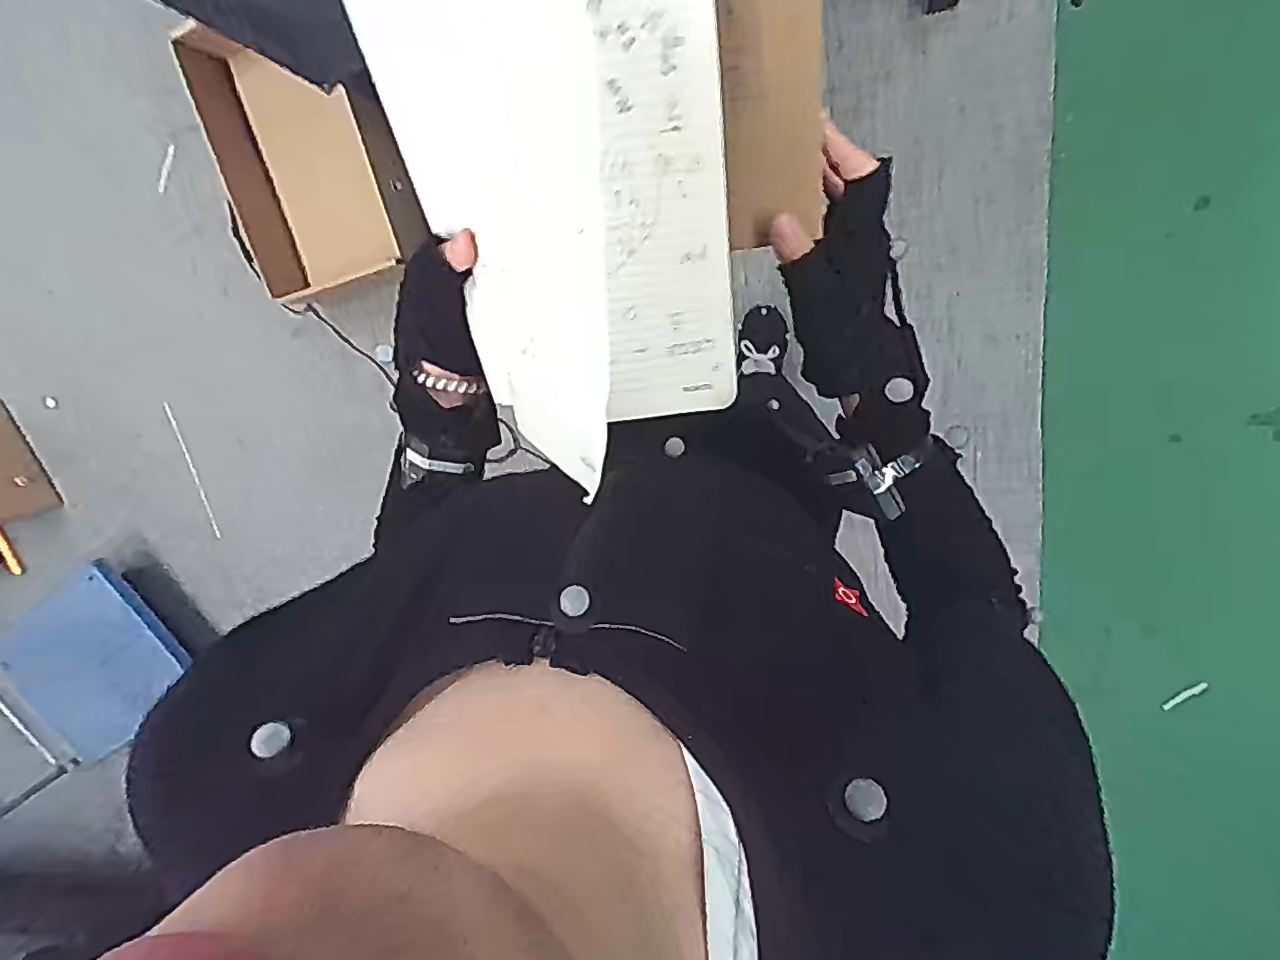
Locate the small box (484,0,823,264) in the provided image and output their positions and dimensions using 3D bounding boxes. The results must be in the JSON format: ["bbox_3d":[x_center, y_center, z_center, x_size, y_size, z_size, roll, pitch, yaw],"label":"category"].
[{"bbox_3d":[0.024,-0.248,0.360,0.179,0.176,0.168,-2,117,14],"label":"small box"}]
